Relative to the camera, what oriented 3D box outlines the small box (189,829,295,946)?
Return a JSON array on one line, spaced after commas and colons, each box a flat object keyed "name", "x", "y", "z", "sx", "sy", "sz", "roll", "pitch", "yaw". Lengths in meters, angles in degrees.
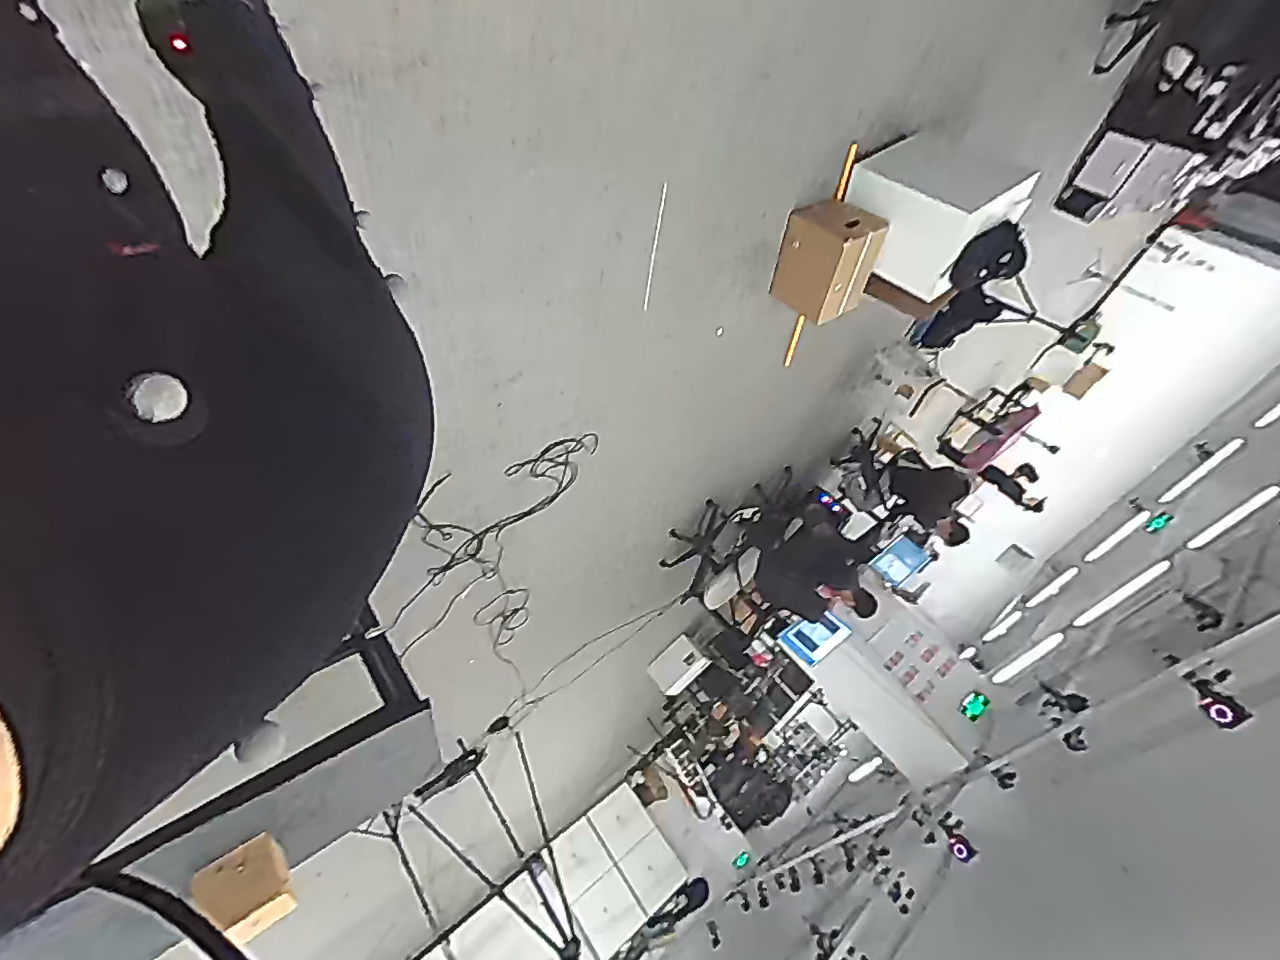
[{"name": "small box", "x": -1.020, "y": 1.042, "z": 1.392, "sx": 0.168, "sy": 0.176, "sz": 0.179, "roll": -23, "pitch": 145, "yaw": -35}]
